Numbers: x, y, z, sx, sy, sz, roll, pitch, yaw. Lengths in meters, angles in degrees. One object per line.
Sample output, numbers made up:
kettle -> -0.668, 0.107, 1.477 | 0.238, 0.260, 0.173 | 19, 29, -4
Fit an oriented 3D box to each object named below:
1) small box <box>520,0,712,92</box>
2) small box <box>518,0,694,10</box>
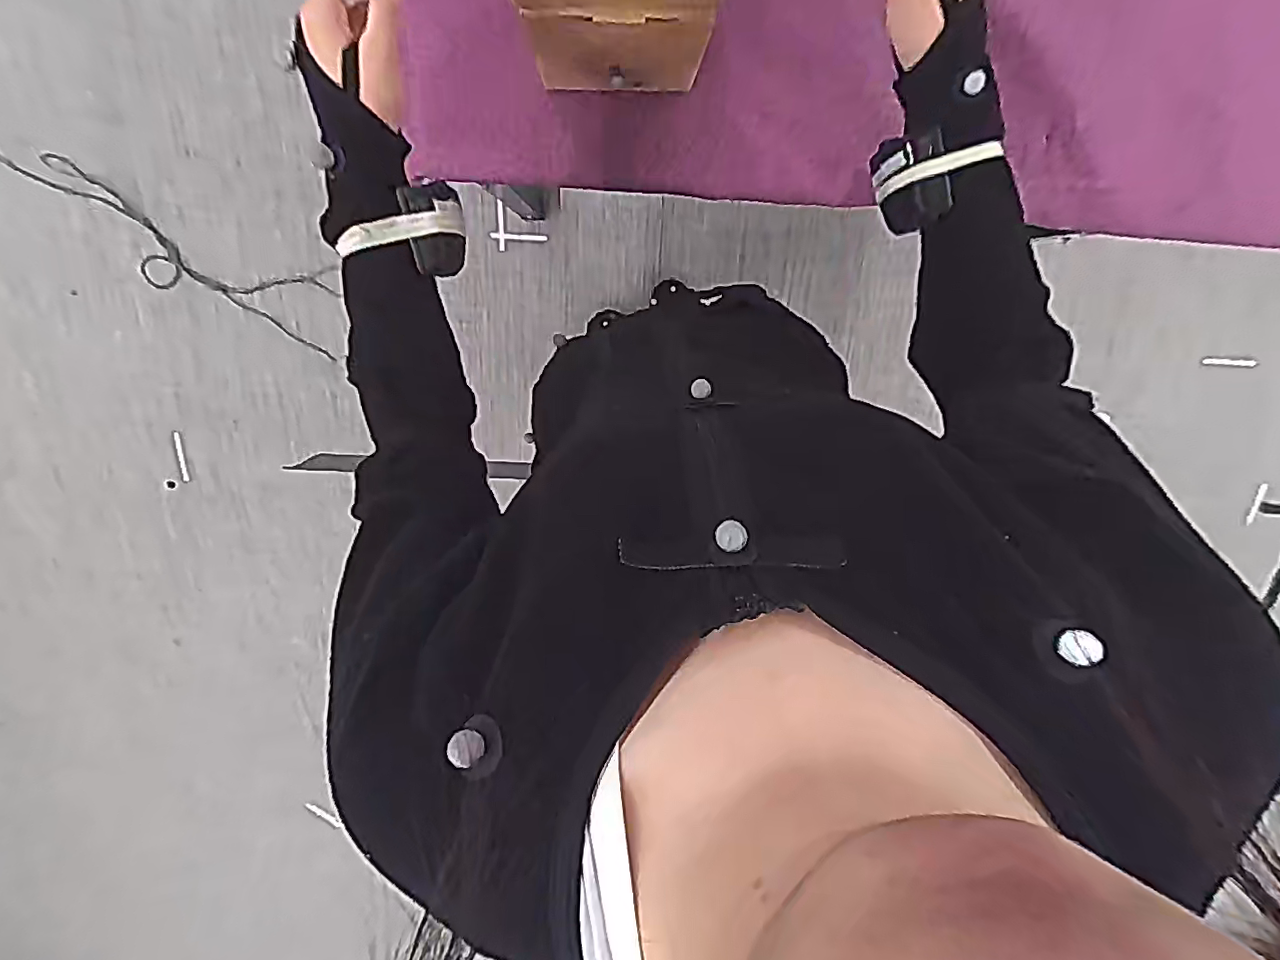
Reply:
small box -> -0.024, -0.499, 0.507 | 0.168, 0.176, 0.179 | -1, 109, -2
small box -> -0.018, -0.449, 0.353 | 0.179, 0.176, 0.168 | -2, 107, -1
